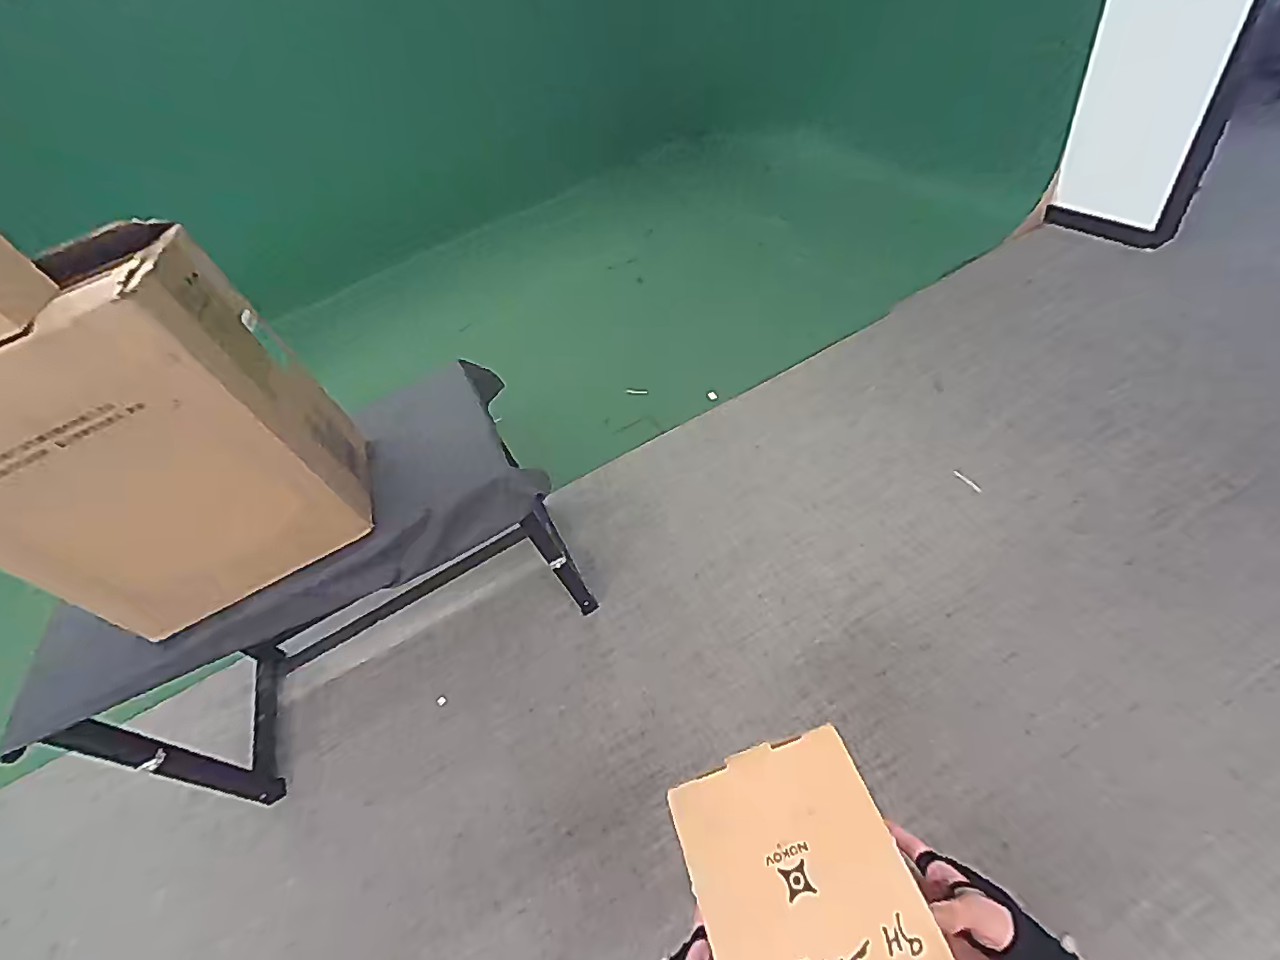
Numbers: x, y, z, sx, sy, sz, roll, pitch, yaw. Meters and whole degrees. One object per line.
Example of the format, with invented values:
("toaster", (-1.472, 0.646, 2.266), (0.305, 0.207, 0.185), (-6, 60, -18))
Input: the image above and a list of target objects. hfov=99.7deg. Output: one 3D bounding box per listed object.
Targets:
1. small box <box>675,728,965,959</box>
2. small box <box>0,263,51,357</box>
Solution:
("small box", (0.149, 0.362, 0.489), (0.168, 0.176, 0.179), (-24, 48, 0))
("small box", (-1.040, -0.258, 0.788), (0.168, 0.176, 0.179), (-28, 45, -7))
